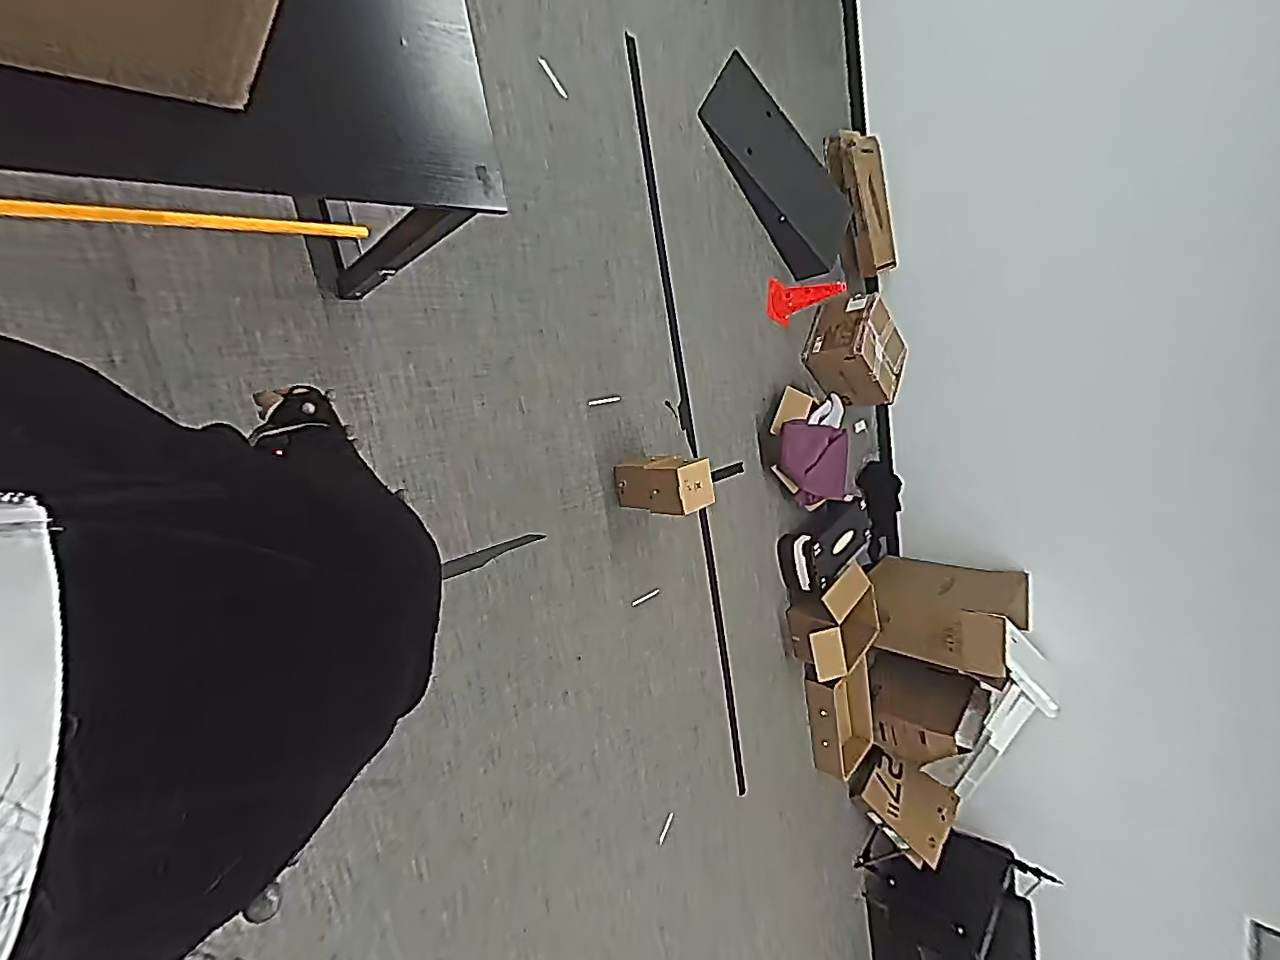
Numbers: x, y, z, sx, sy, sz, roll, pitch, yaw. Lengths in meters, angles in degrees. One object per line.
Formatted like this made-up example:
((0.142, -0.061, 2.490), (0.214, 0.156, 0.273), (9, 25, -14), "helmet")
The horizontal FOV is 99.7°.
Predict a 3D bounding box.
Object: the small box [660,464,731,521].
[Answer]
((0.194, 0.037, 1.902), (0.179, 0.176, 0.168), (-20, 104, -42), "small box")

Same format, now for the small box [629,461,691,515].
((0.083, 0.024, 2.025), (0.179, 0.176, 0.168), (-20, 105, -41), "small box")
